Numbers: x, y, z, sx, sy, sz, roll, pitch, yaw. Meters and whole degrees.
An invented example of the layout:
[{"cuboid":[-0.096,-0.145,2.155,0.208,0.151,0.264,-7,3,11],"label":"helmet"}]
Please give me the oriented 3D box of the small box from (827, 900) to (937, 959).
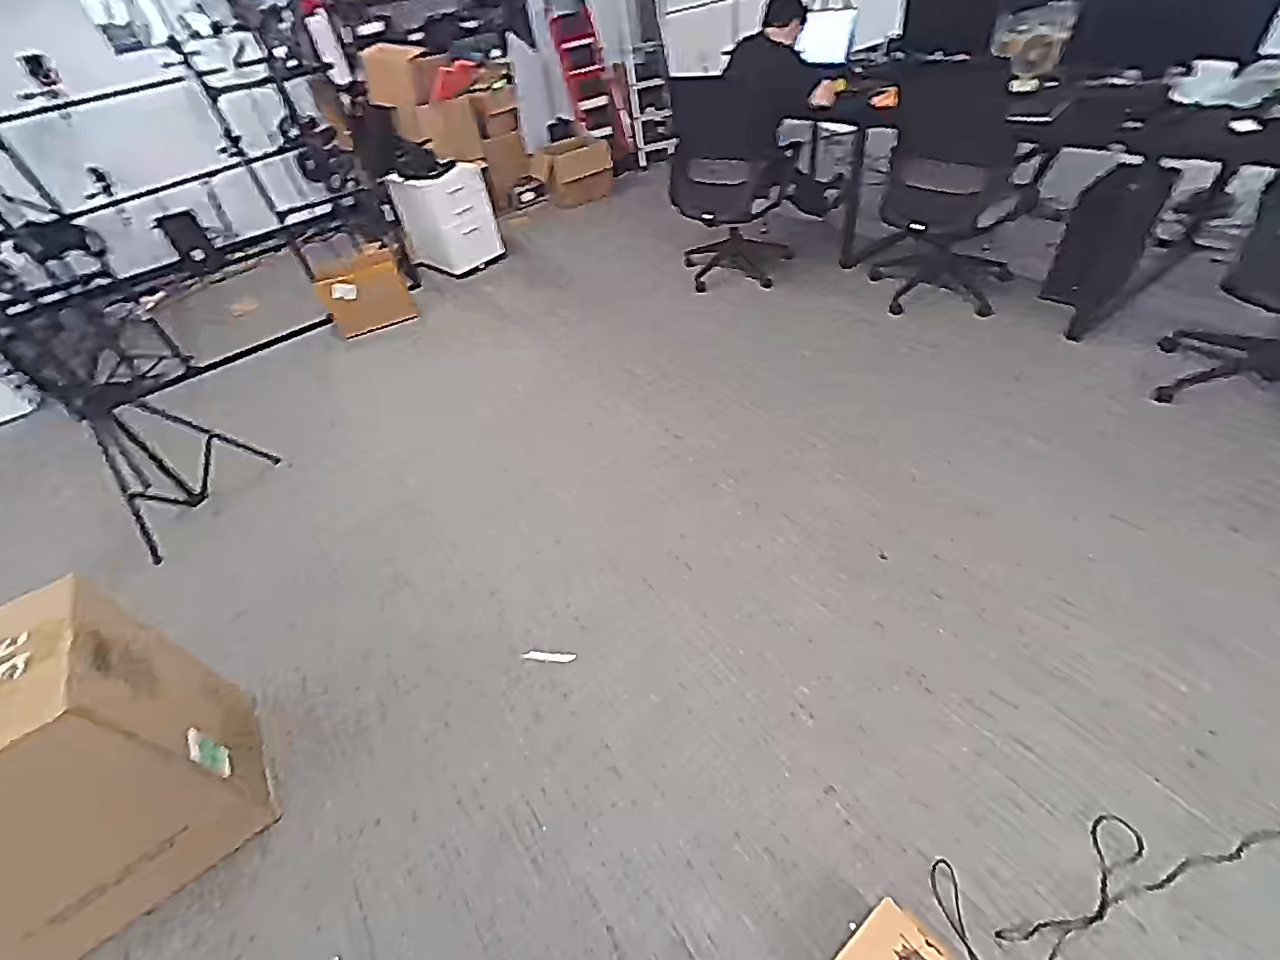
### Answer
[{"cuboid":[0.414,0.870,0.918,0.179,0.176,0.168,-33,47,-20],"label":"small box"}]
